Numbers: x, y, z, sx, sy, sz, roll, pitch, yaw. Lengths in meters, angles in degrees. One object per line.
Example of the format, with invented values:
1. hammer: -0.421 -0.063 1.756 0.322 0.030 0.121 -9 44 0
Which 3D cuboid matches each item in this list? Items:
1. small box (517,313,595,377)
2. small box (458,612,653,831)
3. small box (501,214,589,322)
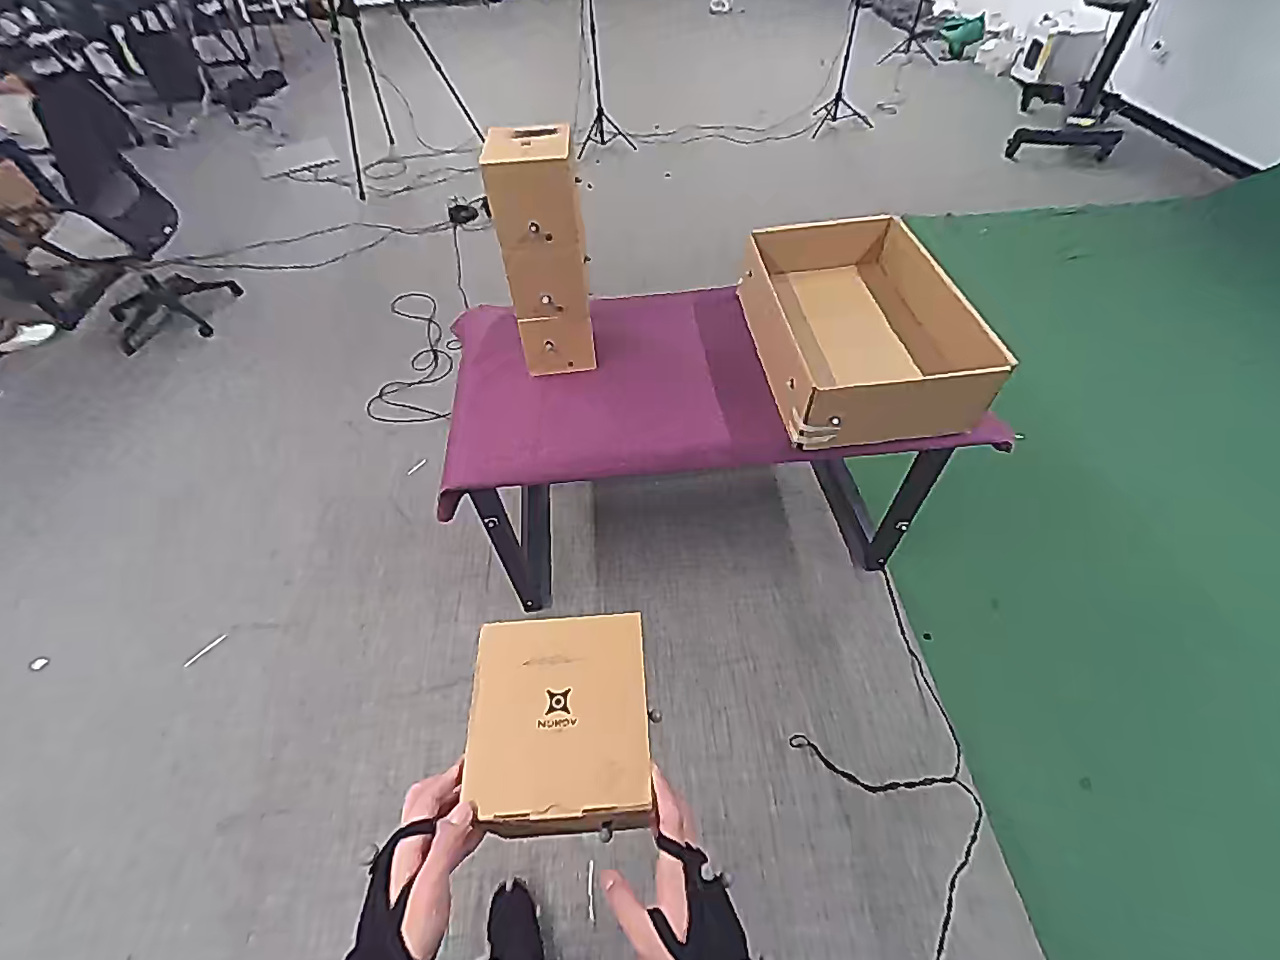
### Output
1. small box: -0.207 -0.373 1.353 0.168 0.176 0.179 -7 50 -2
2. small box: -0.073 0.257 0.565 0.168 0.176 0.179 -3 52 -1
3. small box: -0.207 -0.480 1.228 0.168 0.176 0.179 -4 51 1
